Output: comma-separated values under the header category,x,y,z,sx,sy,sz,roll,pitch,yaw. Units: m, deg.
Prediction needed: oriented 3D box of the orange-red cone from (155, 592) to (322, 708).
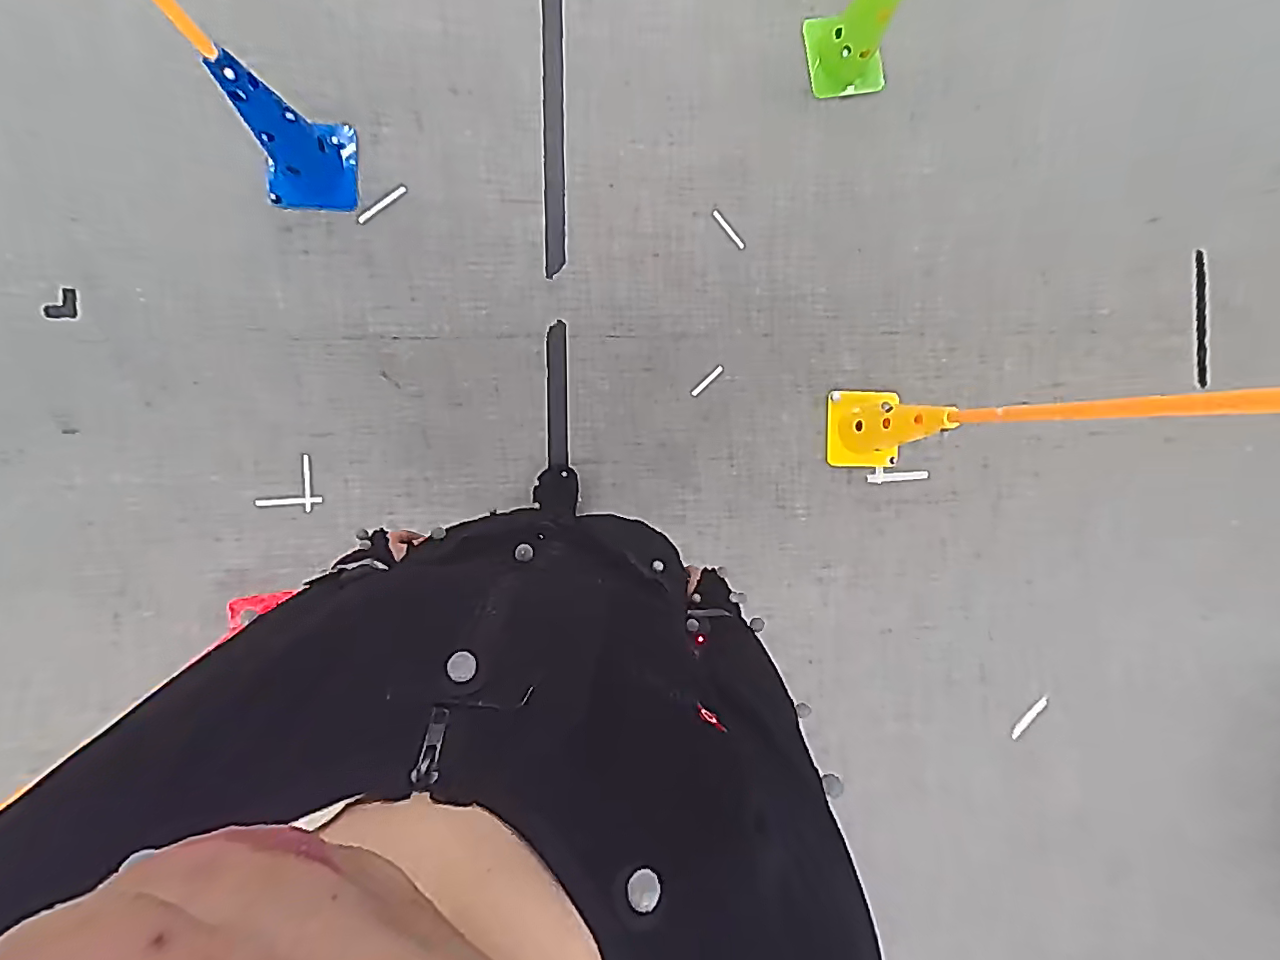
category,x,y,z,sx,sy,sz,roll,pitch,yaw
orange-red cone,-0.849,0.375,1.120,0.199,0.360,0.198,-6,92,-7

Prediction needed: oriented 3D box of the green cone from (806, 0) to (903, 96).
category,x,y,z,sx,sy,sz,roll,pitch,yaw
green cone,0.553,-1.104,1.236,0.200,0.368,0.202,-12,94,-5

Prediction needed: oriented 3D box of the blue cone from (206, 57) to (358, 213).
category,x,y,z,sx,sy,sz,roll,pitch,yaw
blue cone,-0.755,-0.732,1.121,0.193,0.380,0.192,2,92,-6
